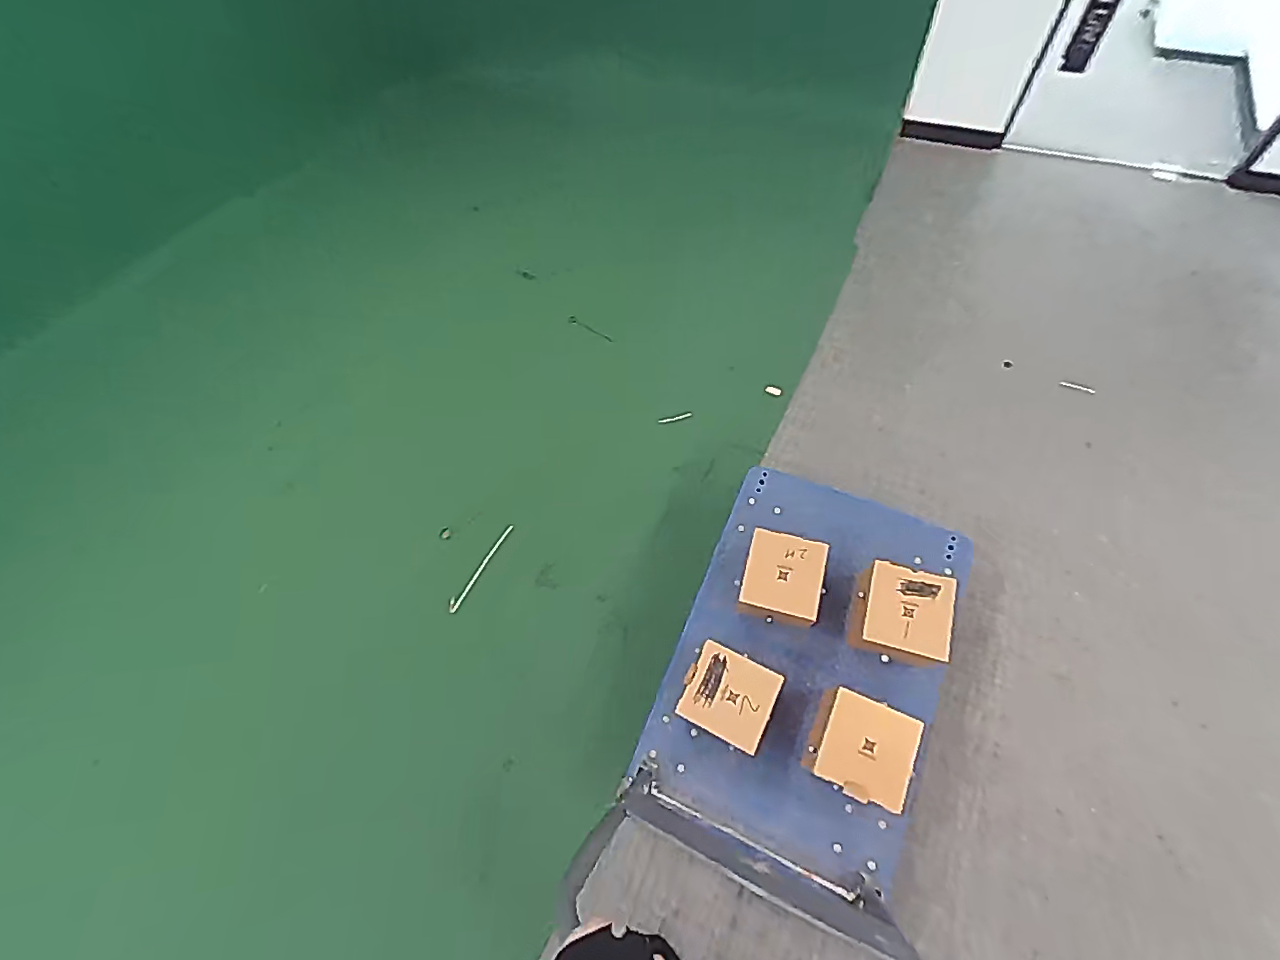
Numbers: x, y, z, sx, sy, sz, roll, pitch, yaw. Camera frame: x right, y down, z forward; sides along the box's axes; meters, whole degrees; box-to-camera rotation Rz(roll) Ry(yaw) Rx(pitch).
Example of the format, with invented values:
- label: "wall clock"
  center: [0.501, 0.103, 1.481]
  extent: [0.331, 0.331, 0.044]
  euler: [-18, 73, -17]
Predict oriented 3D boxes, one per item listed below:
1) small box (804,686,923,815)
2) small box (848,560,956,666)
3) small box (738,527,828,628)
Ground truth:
- label: "small box"
  center: [0.450, 0.545, 1.115]
  extent: [0.168, 0.176, 0.179]
  euler: [21, 73, 16]
- label: "small box"
  center: [0.572, 0.299, 1.198]
  extent: [0.168, 0.176, 0.179]
  euler: [14, 71, 14]
- label: "small box"
  center: [0.327, 0.233, 1.260]
  extent: [0.168, 0.176, 0.179]
  euler: [13, 70, 12]
